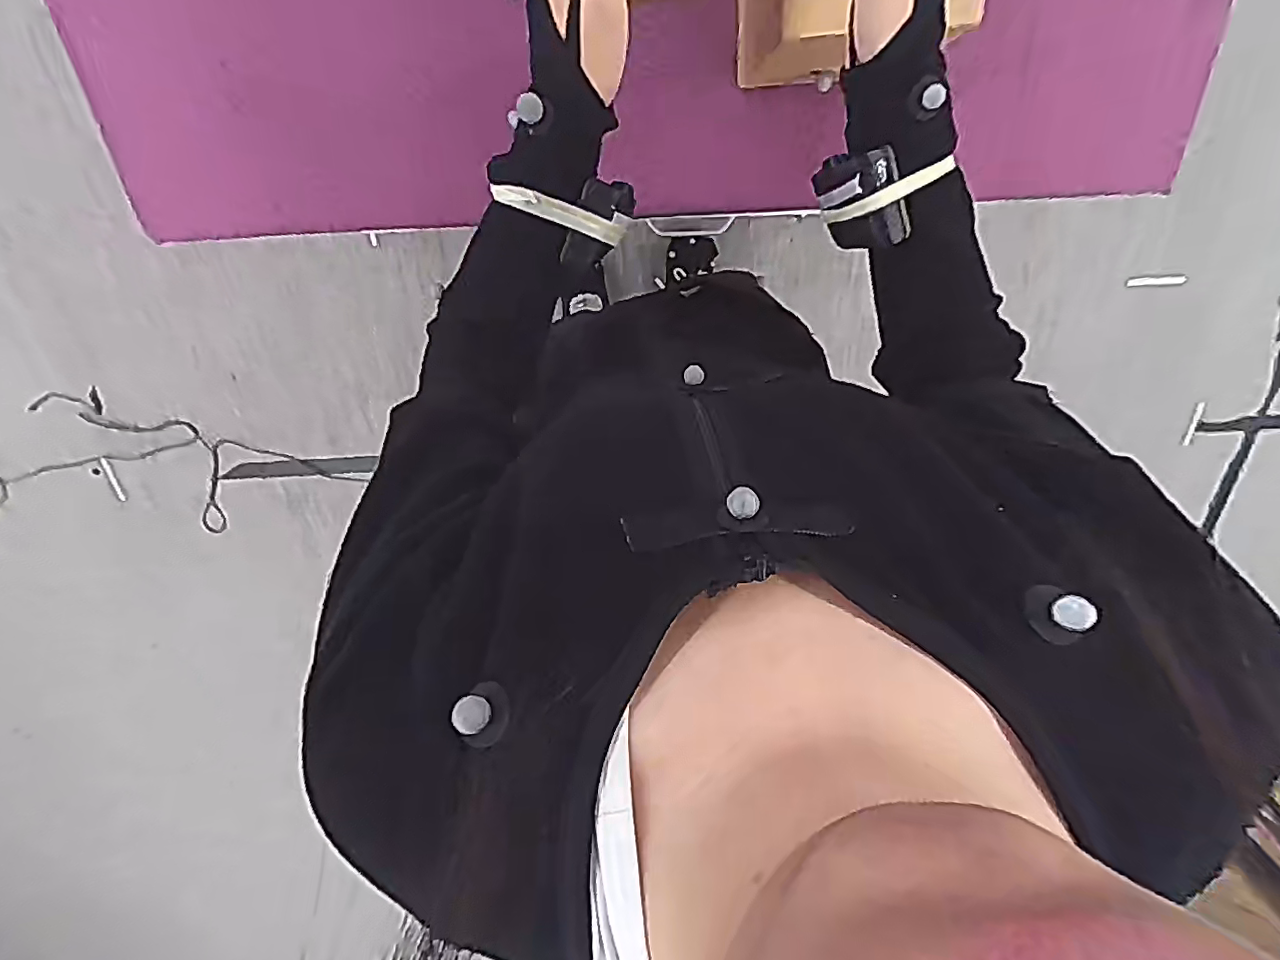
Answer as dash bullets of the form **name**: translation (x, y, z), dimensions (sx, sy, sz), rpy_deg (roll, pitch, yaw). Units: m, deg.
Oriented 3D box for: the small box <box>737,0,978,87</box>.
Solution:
- **small box**: translation (0.184, -0.477, 0.479), dimensions (0.168, 0.176, 0.179), rpy_deg (-4, 115, -1)
